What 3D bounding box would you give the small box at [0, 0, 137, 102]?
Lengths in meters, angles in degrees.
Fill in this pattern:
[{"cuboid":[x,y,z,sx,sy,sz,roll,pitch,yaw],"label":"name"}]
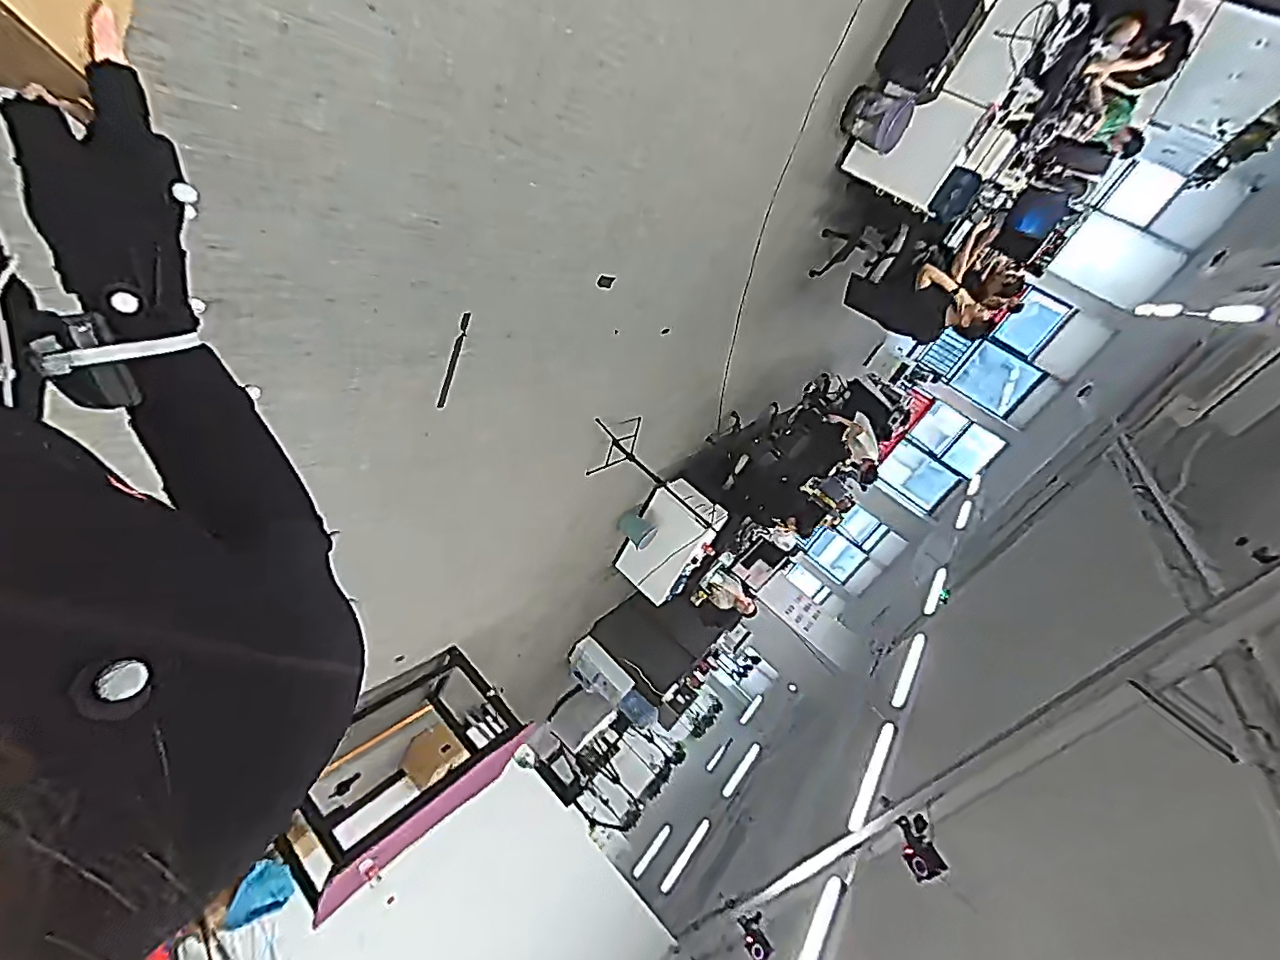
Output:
[{"cuboid":[-0.391,-0.332,0.256,0.179,0.168,0.176,138,-43,-82],"label":"small box"}]
